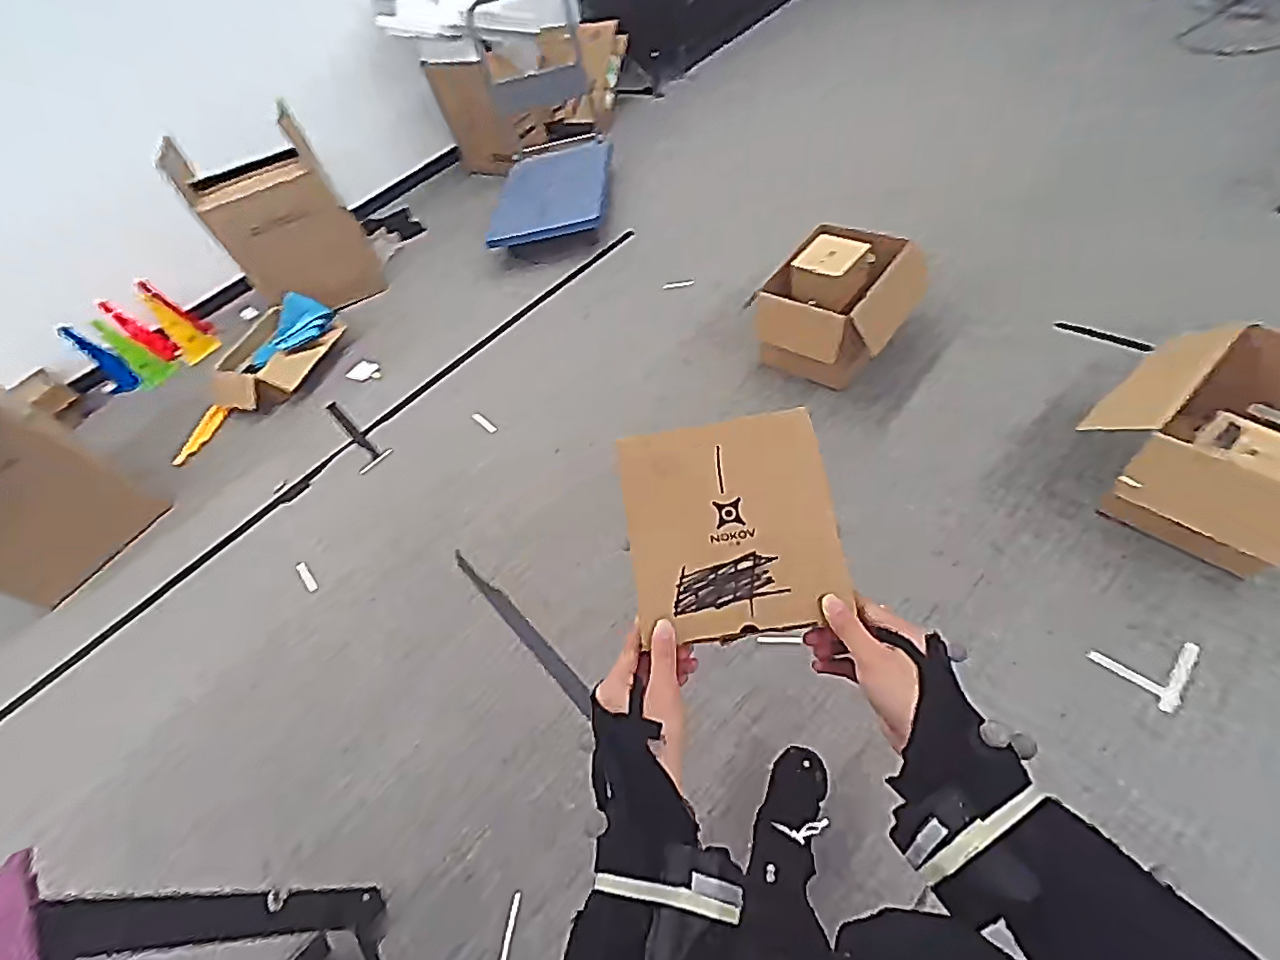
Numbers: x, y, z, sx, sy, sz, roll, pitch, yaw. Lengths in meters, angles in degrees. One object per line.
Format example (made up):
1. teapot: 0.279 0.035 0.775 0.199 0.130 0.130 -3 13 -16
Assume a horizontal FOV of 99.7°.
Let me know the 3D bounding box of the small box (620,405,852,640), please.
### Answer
1. small box: 0.081 0.050 0.512 0.168 0.176 0.179 -9 74 3

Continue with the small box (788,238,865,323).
1. small box: 0.588 -0.634 1.722 0.168 0.176 0.179 32 69 34
